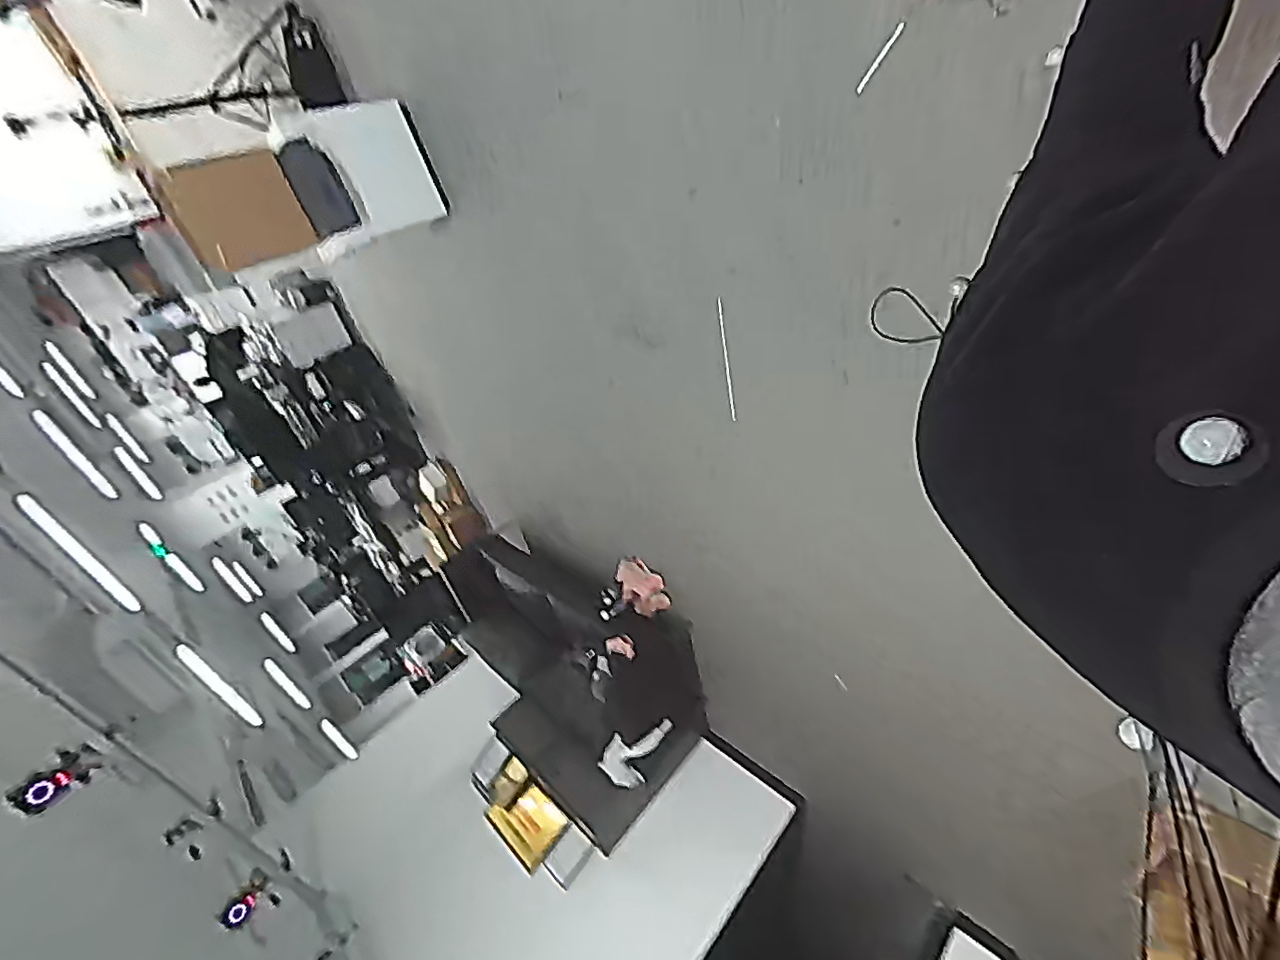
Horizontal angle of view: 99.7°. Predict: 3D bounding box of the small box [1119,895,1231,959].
[{"bbox_3d":[1.582,1.385,1.597,0.179,0.176,0.168,32,141,31],"label":"small box"}]
